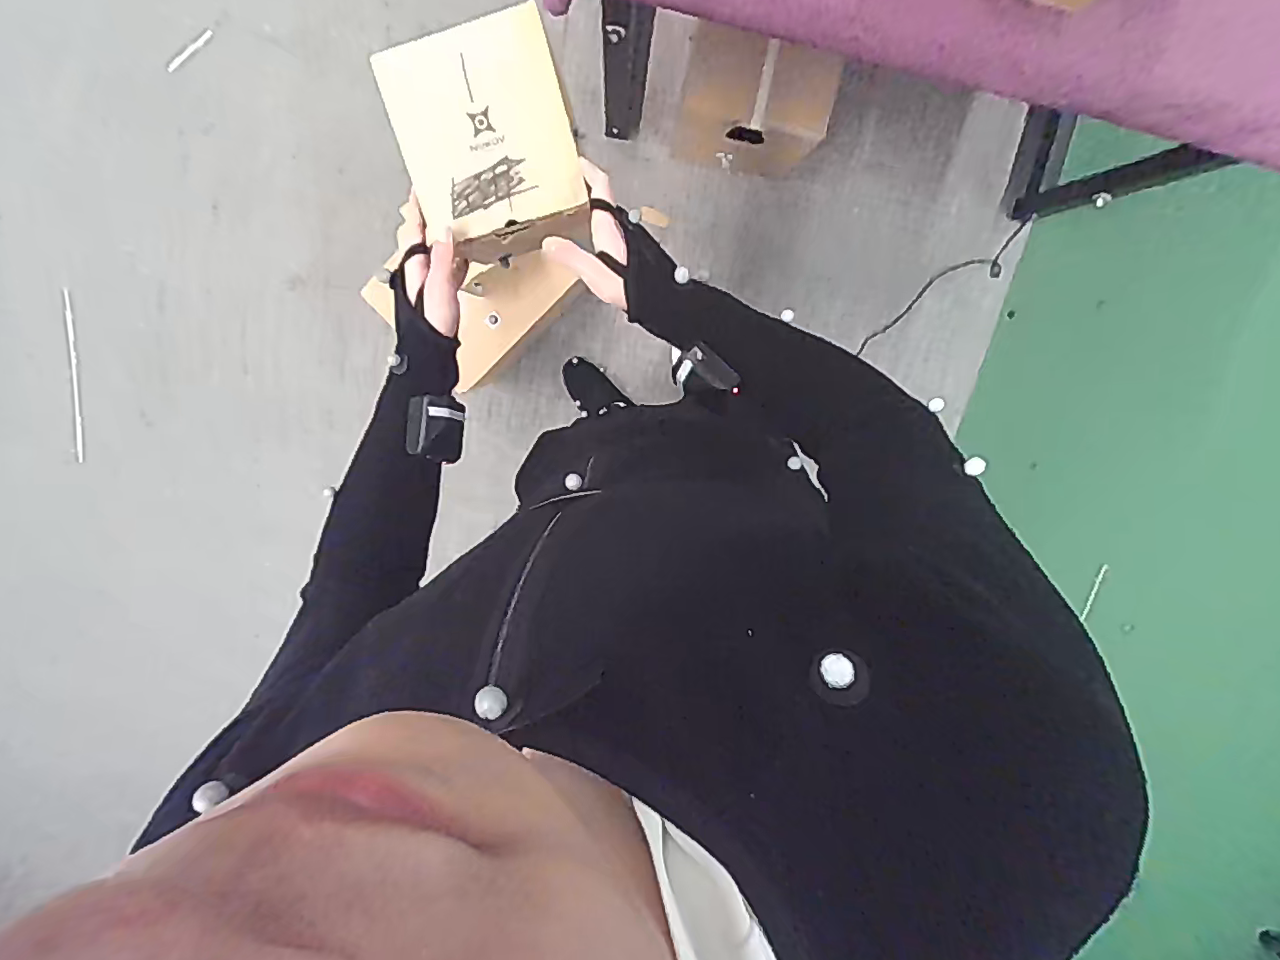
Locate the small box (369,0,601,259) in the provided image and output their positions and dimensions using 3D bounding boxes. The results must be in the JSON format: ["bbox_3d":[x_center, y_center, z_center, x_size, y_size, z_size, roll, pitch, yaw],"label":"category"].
[{"bbox_3d":[-0.146,-0.349,0.584,0.168,0.176,0.179,-14,106,5],"label":"small box"}]

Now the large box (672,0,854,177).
[{"bbox_3d":[0.265,-0.971,1.227,0.320,0.320,0.408,9,103,-6],"label":"large box"}]
